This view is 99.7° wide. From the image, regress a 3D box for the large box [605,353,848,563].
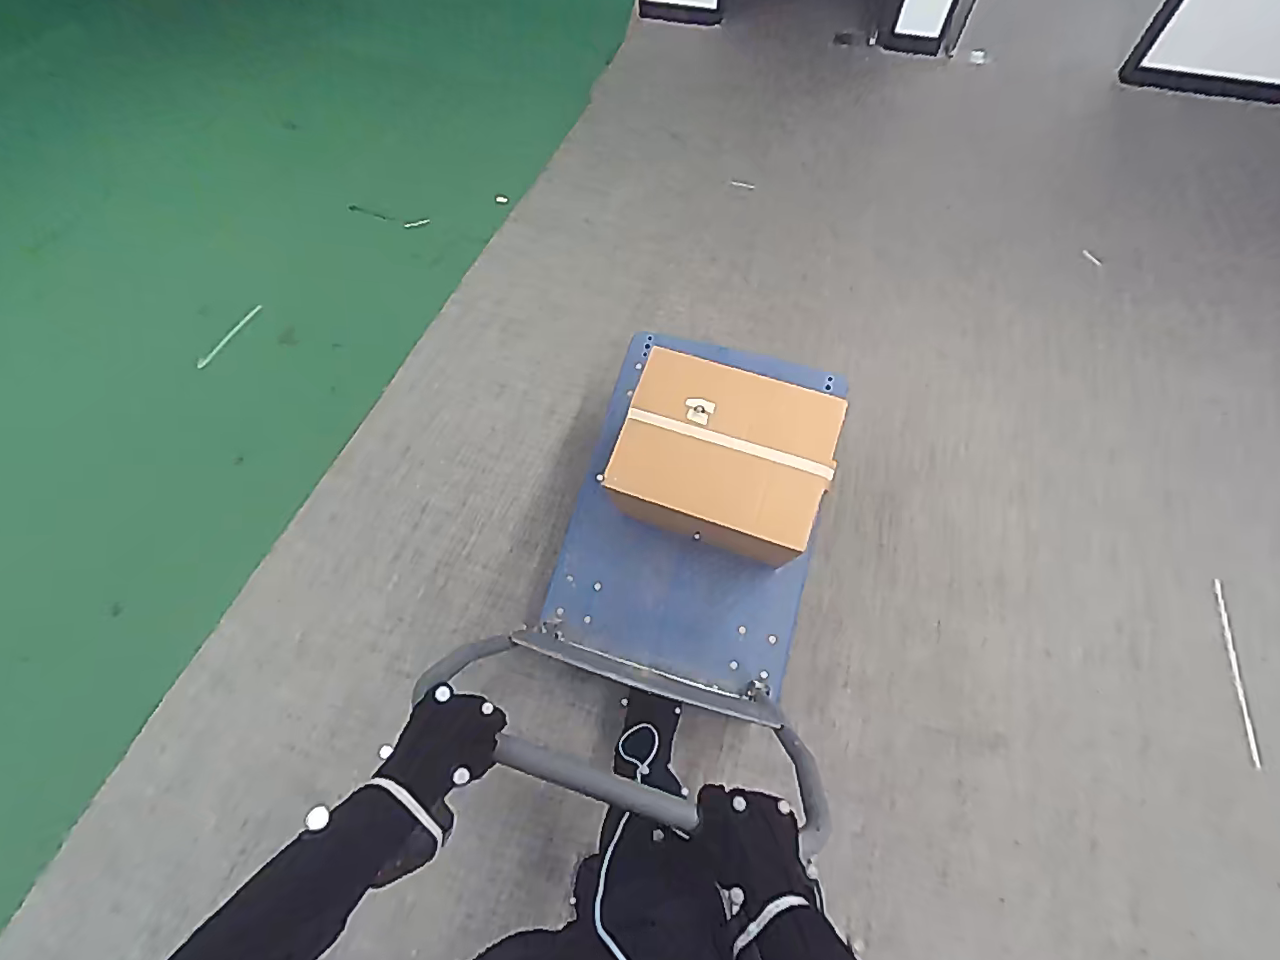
[{"bbox_3d":[0.185,-0.030,1.183,0.408,0.320,0.320,18,79,11],"label":"large box"}]
